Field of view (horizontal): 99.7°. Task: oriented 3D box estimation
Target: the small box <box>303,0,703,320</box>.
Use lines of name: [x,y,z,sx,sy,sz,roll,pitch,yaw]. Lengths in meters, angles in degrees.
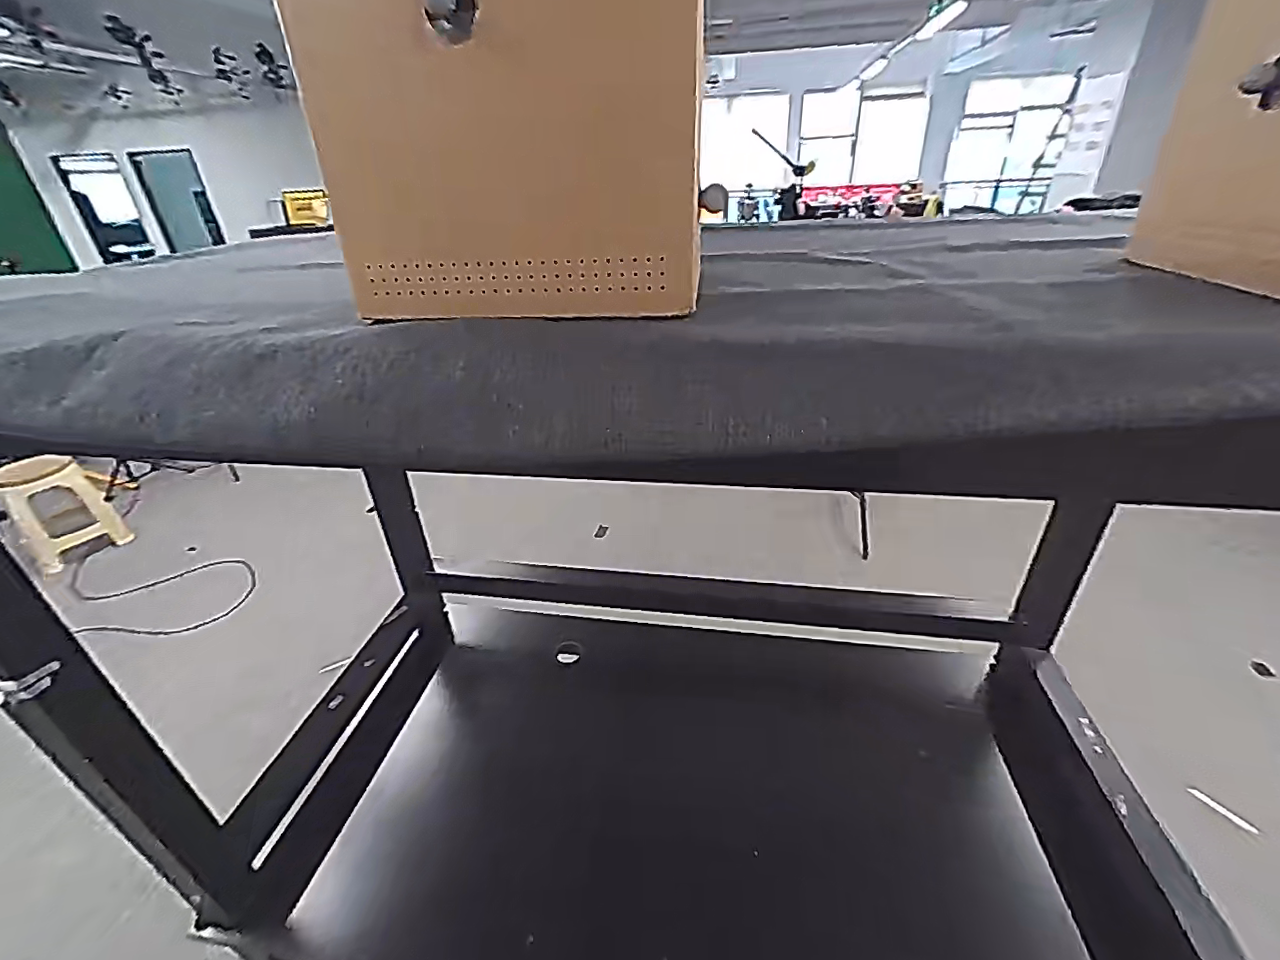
small box: [-0.054,-0.190,0.309,0.179,0.176,0.168,2,28,7]
